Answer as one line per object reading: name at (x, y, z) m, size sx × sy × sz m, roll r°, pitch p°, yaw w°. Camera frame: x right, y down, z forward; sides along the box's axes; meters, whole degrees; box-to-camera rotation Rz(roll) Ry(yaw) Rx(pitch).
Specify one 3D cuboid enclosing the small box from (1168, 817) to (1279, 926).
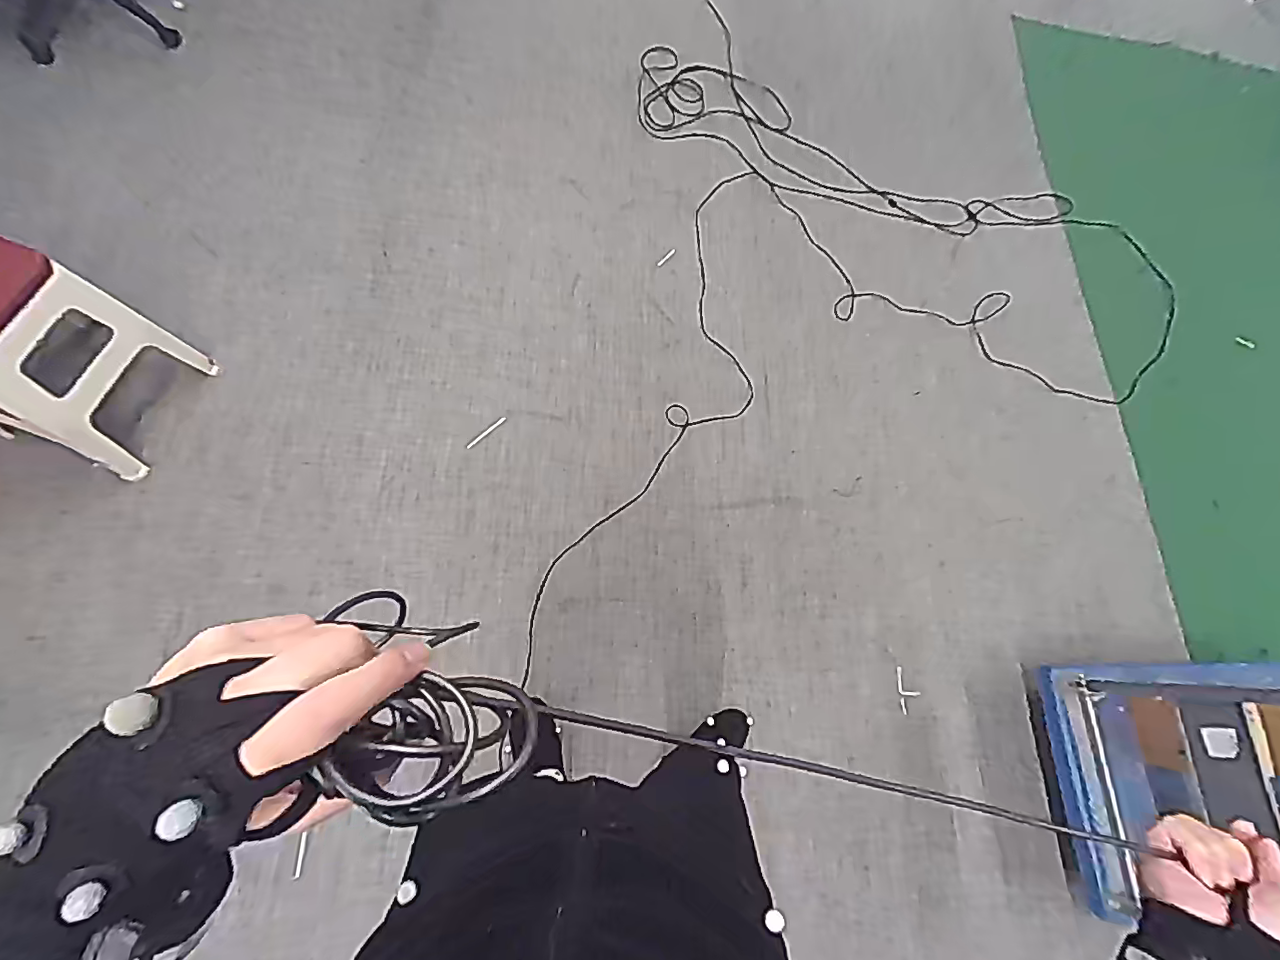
small box at (1.394, 0.890, 1.245) m, size 0.179 × 0.176 × 0.168 m, roll 3°, pitch 71°, yaw -6°

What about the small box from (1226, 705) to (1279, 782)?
small box at (1.644, 0.663, 1.356) m, size 0.179 × 0.176 × 0.168 m, roll -1°, pitch 72°, yaw -8°
